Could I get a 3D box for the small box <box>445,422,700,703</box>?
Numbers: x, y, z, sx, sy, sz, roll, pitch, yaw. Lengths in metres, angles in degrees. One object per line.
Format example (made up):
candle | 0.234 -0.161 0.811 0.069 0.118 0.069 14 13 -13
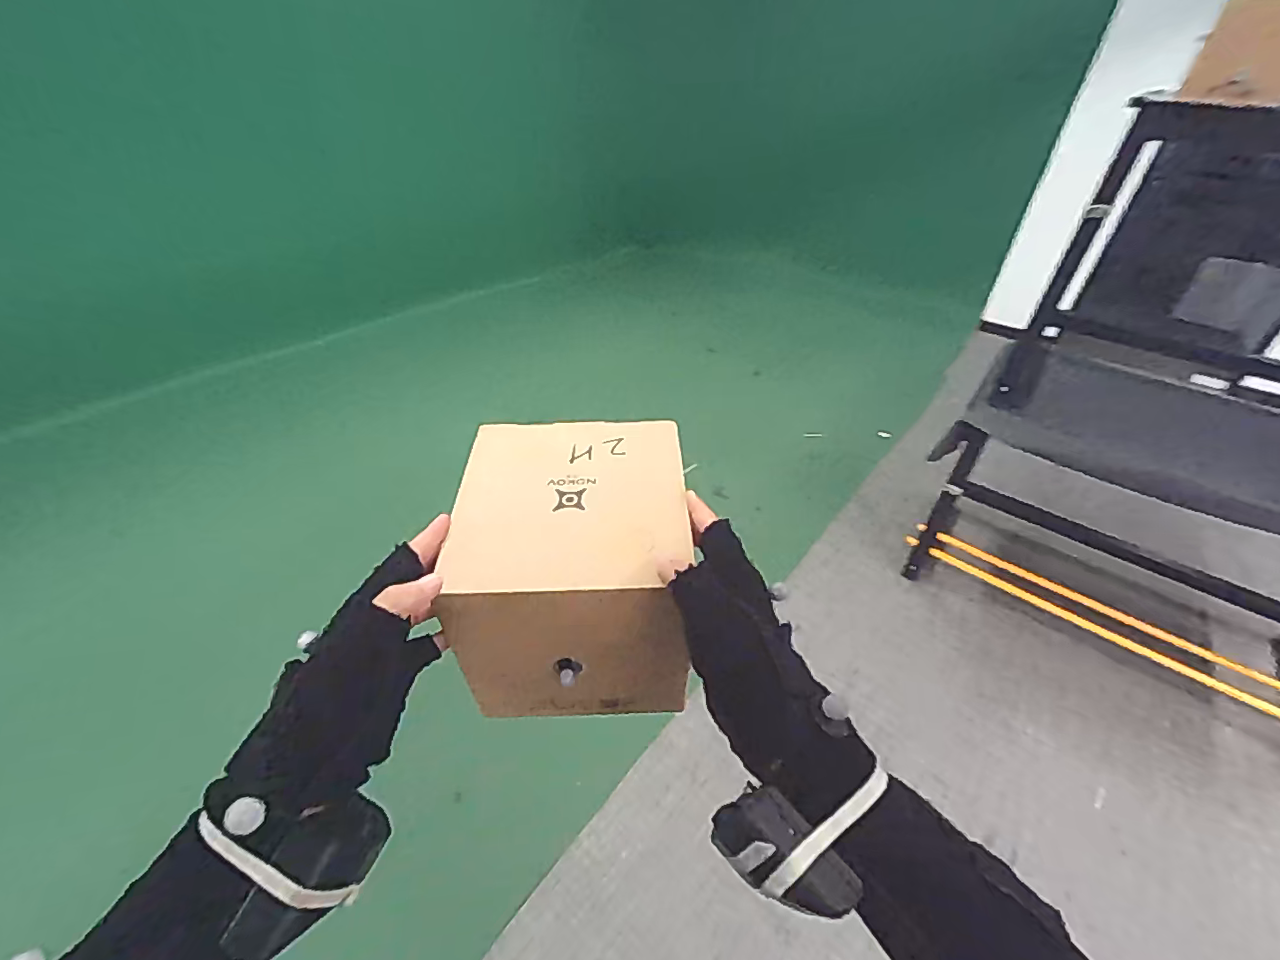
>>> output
small box | -0.042 0.070 0.452 0.168 0.176 0.179 -1 41 -1
